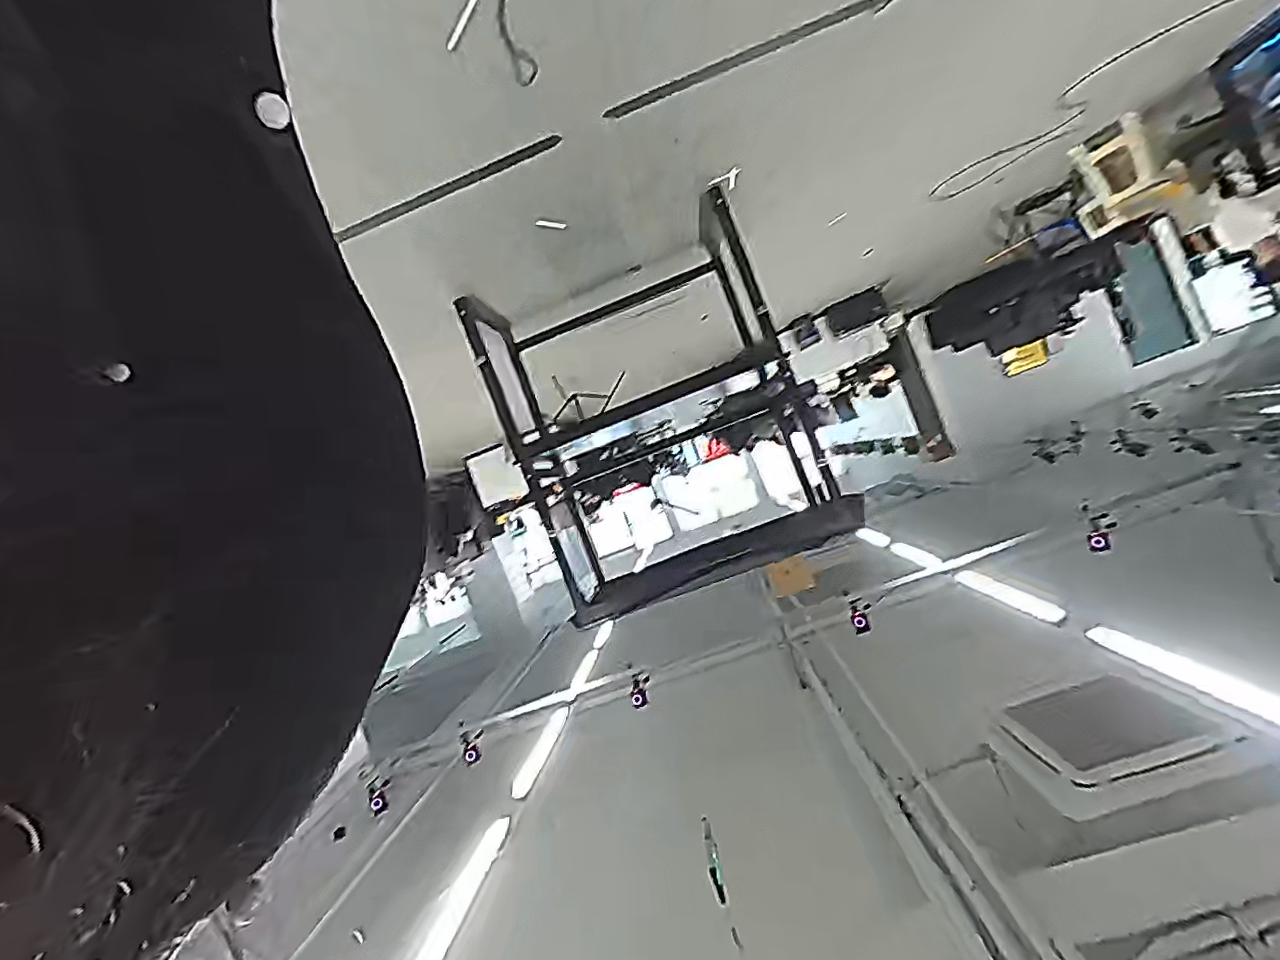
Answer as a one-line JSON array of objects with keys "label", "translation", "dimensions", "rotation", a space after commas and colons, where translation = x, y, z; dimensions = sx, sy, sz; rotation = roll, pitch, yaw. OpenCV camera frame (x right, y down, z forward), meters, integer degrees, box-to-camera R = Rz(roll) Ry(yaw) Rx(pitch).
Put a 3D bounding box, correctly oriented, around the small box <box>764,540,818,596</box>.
[{"label": "small box", "translation": [0.631, 0.365, 2.279], "dimensions": [0.168, 0.176, 0.179], "rotation": [-20, -179, 10]}]
